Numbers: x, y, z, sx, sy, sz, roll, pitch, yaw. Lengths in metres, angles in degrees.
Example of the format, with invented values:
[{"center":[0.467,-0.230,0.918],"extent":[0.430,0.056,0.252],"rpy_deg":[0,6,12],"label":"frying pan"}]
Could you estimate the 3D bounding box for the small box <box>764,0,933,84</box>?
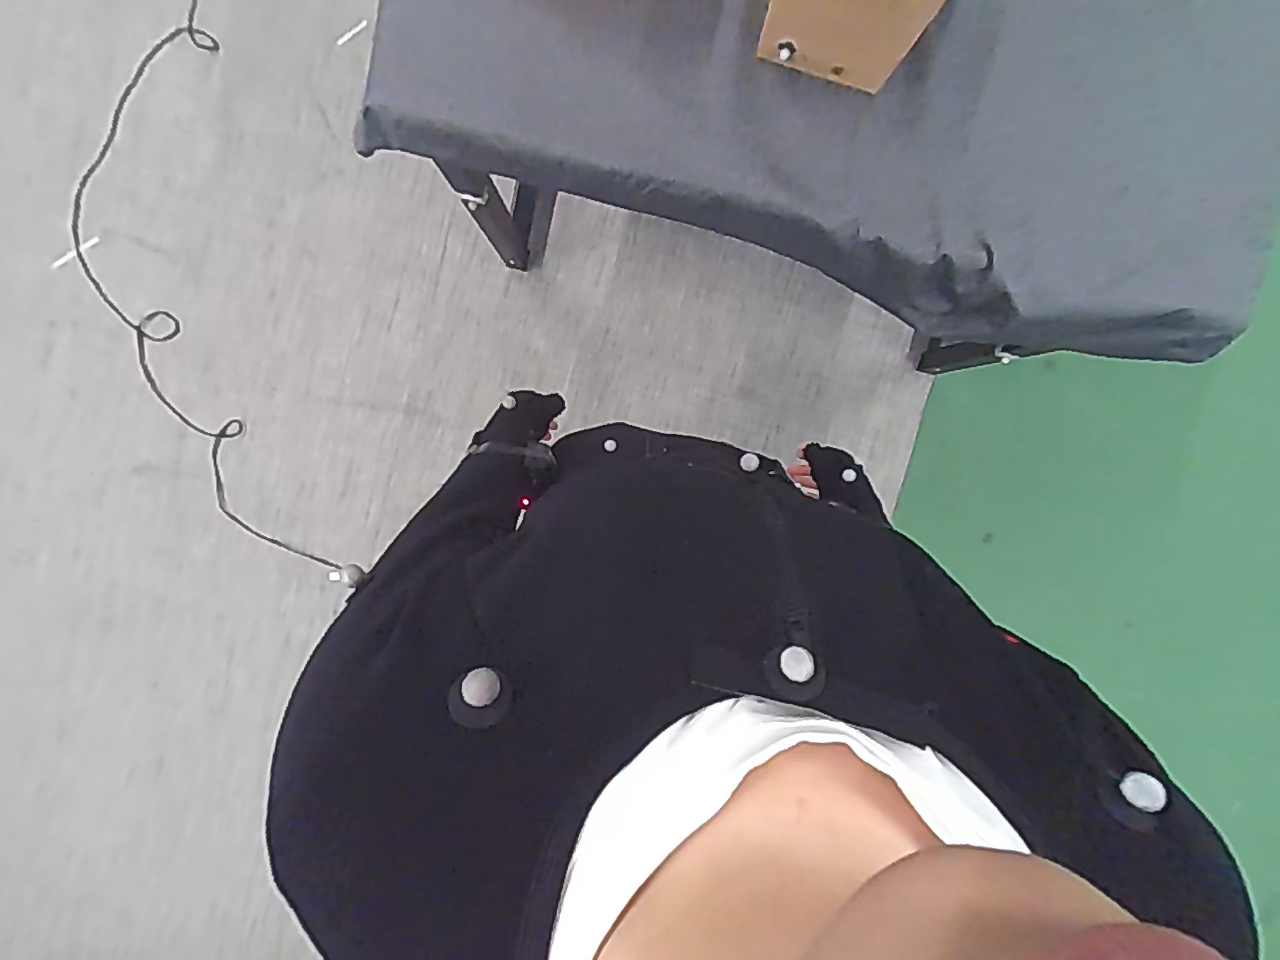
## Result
[{"center":[0.252,-0.601,0.609],"extent":[0.168,0.176,0.179],"rpy_deg":[15,94,-3],"label":"small box"}]
